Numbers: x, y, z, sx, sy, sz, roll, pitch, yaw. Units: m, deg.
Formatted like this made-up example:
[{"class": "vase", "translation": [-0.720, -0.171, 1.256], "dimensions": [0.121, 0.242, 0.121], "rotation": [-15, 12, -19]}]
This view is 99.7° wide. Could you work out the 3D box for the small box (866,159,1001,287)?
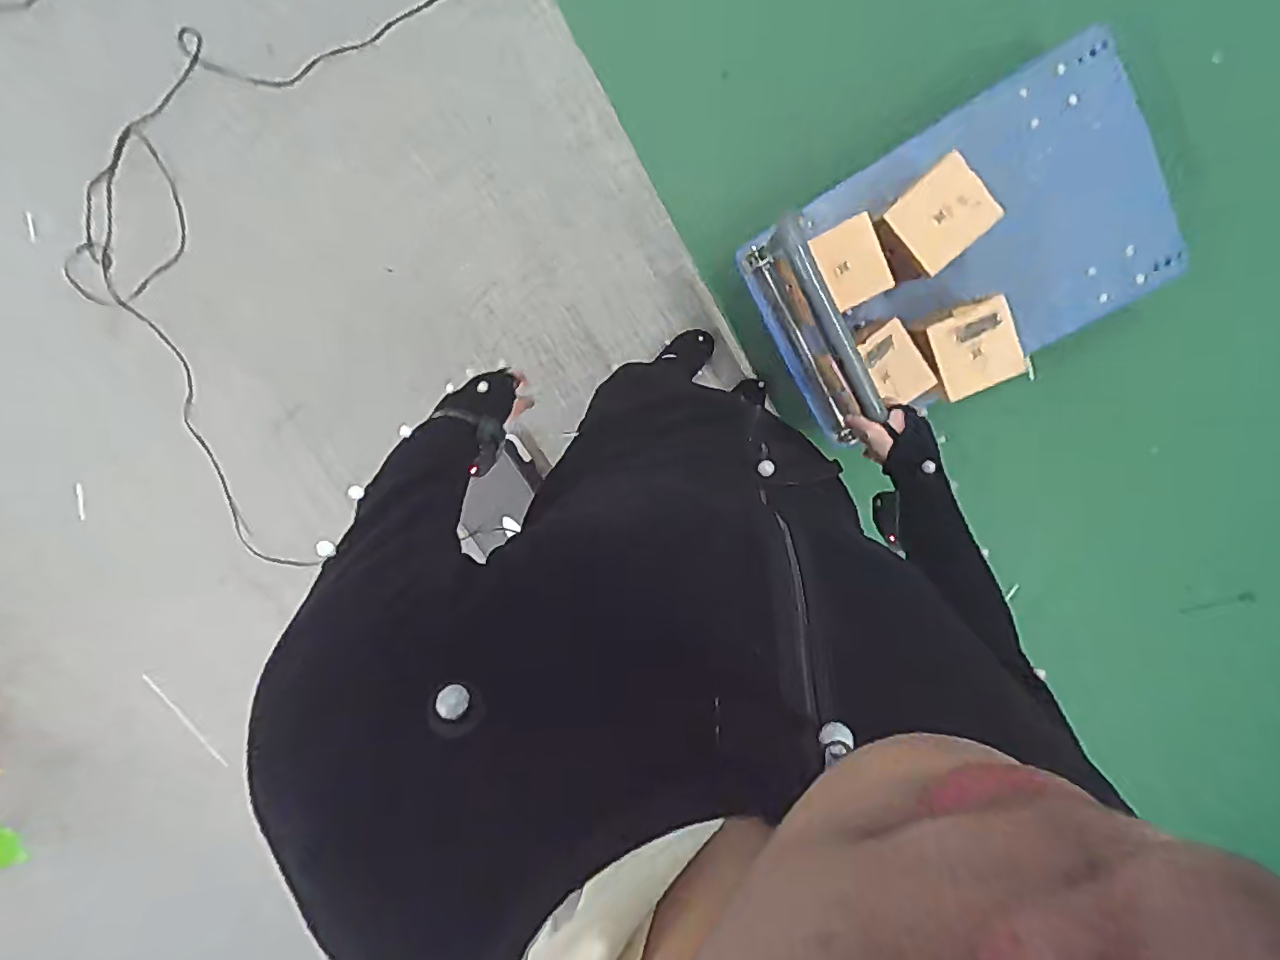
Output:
[{"class": "small box", "translation": [0.618, -0.542, 1.171], "dimensions": [0.179, 0.176, 0.168], "rotation": [-41, 98, 14]}]
